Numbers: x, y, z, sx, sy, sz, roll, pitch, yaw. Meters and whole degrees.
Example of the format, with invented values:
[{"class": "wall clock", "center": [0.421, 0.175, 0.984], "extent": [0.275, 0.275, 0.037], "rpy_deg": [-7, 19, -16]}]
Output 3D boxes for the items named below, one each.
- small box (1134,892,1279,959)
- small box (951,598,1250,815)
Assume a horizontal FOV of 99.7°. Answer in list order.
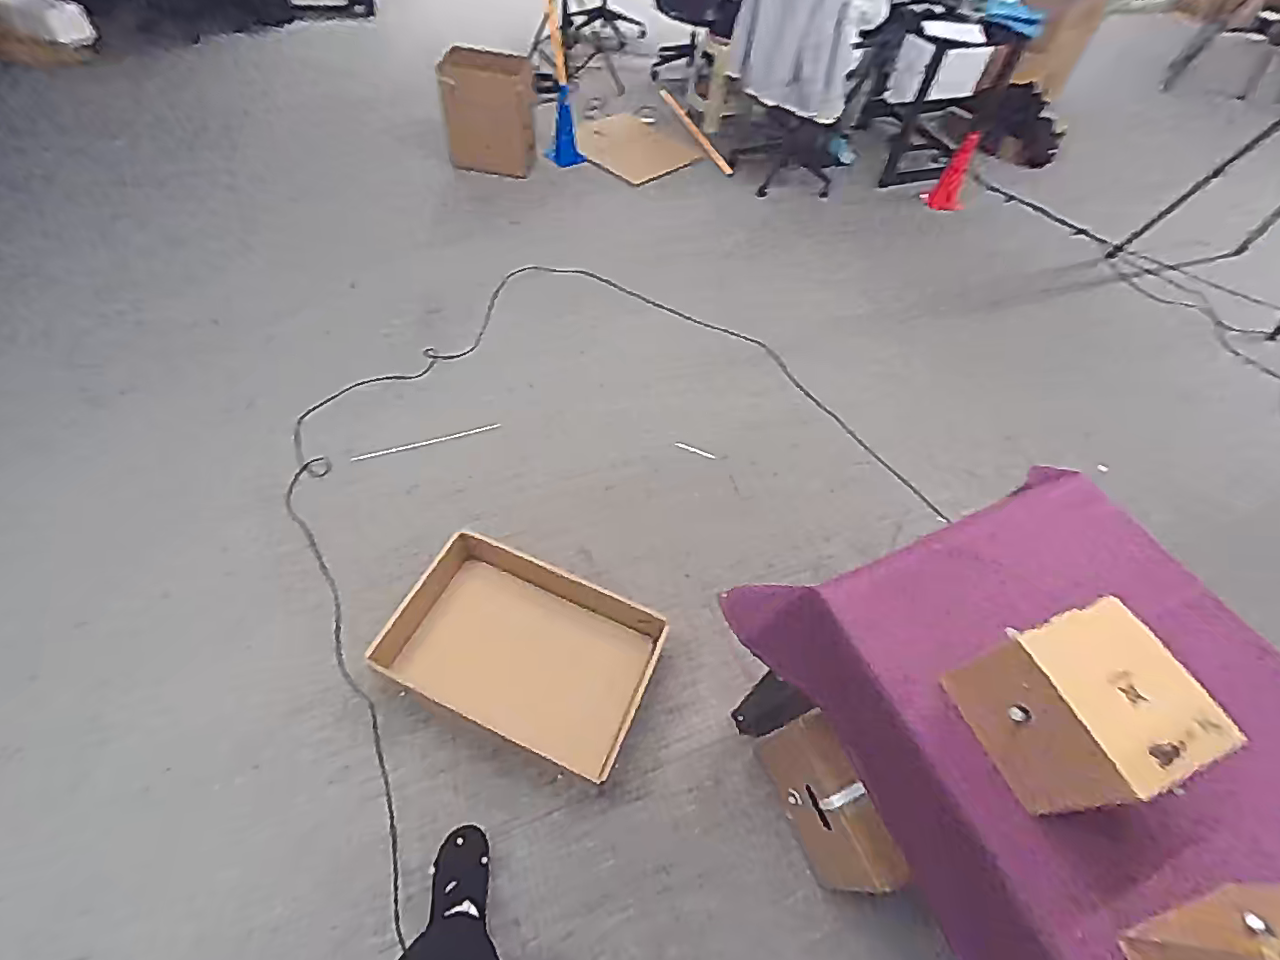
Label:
[{"class": "small box", "center": [0.635, 0.505, 0.498], "extent": [0.179, 0.176, 0.168], "rpy_deg": [-11, 56, -12]}, {"class": "small box", "center": [0.526, 0.274, 0.652], "extent": [0.168, 0.176, 0.179], "rpy_deg": [-15, 56, -14]}]
